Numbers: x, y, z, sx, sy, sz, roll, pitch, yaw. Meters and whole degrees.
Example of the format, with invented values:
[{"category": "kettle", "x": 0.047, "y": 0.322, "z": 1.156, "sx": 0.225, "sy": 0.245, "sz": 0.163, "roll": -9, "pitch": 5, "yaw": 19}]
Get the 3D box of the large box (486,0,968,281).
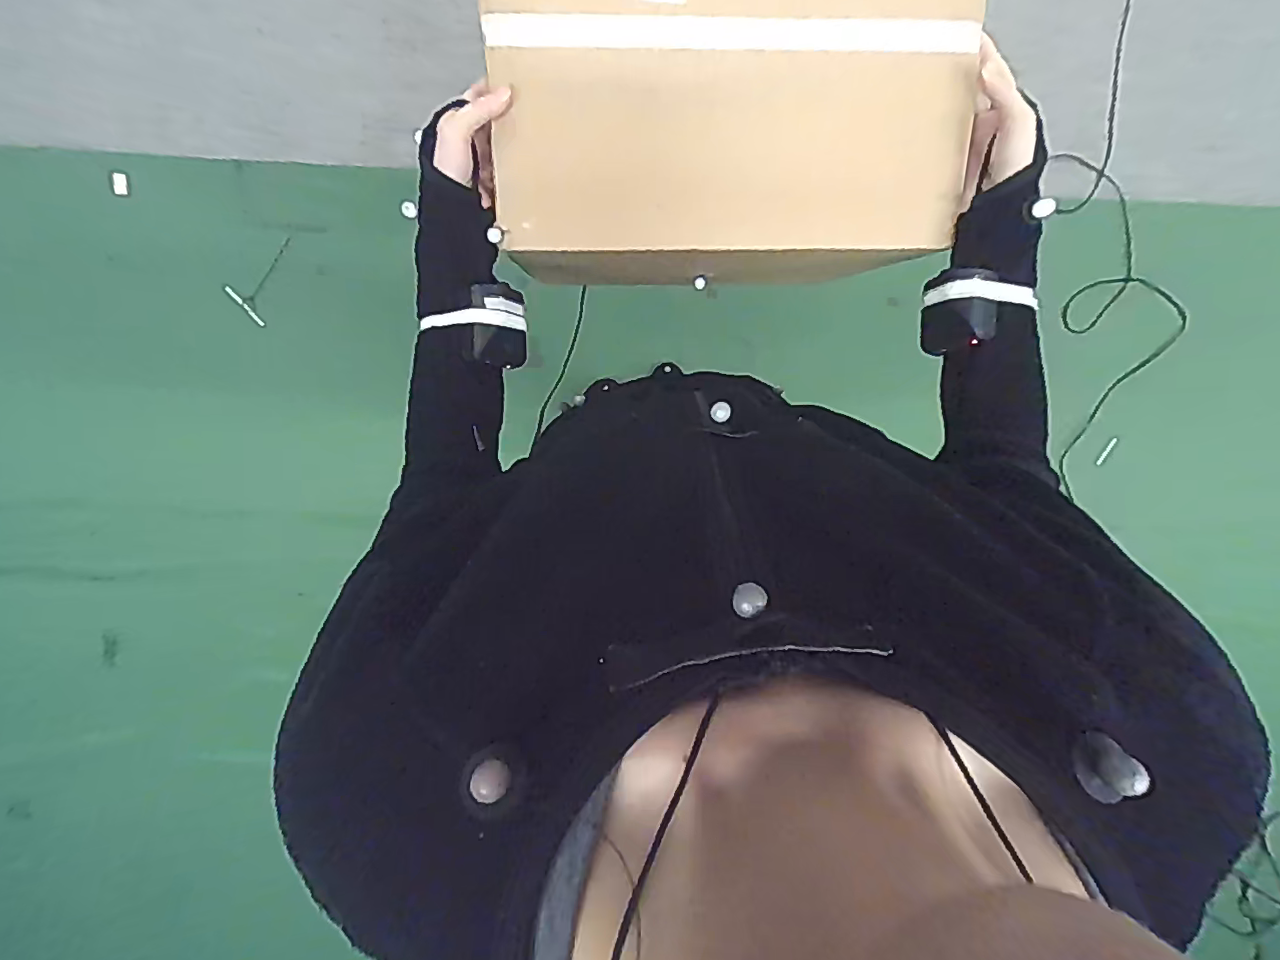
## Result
[{"category": "large box", "x": 0.068, "y": -0.392, "z": 0.594, "sx": 0.408, "sy": 0.320, "sz": 0.320, "roll": -1, "pitch": 105, "yaw": -3}]
